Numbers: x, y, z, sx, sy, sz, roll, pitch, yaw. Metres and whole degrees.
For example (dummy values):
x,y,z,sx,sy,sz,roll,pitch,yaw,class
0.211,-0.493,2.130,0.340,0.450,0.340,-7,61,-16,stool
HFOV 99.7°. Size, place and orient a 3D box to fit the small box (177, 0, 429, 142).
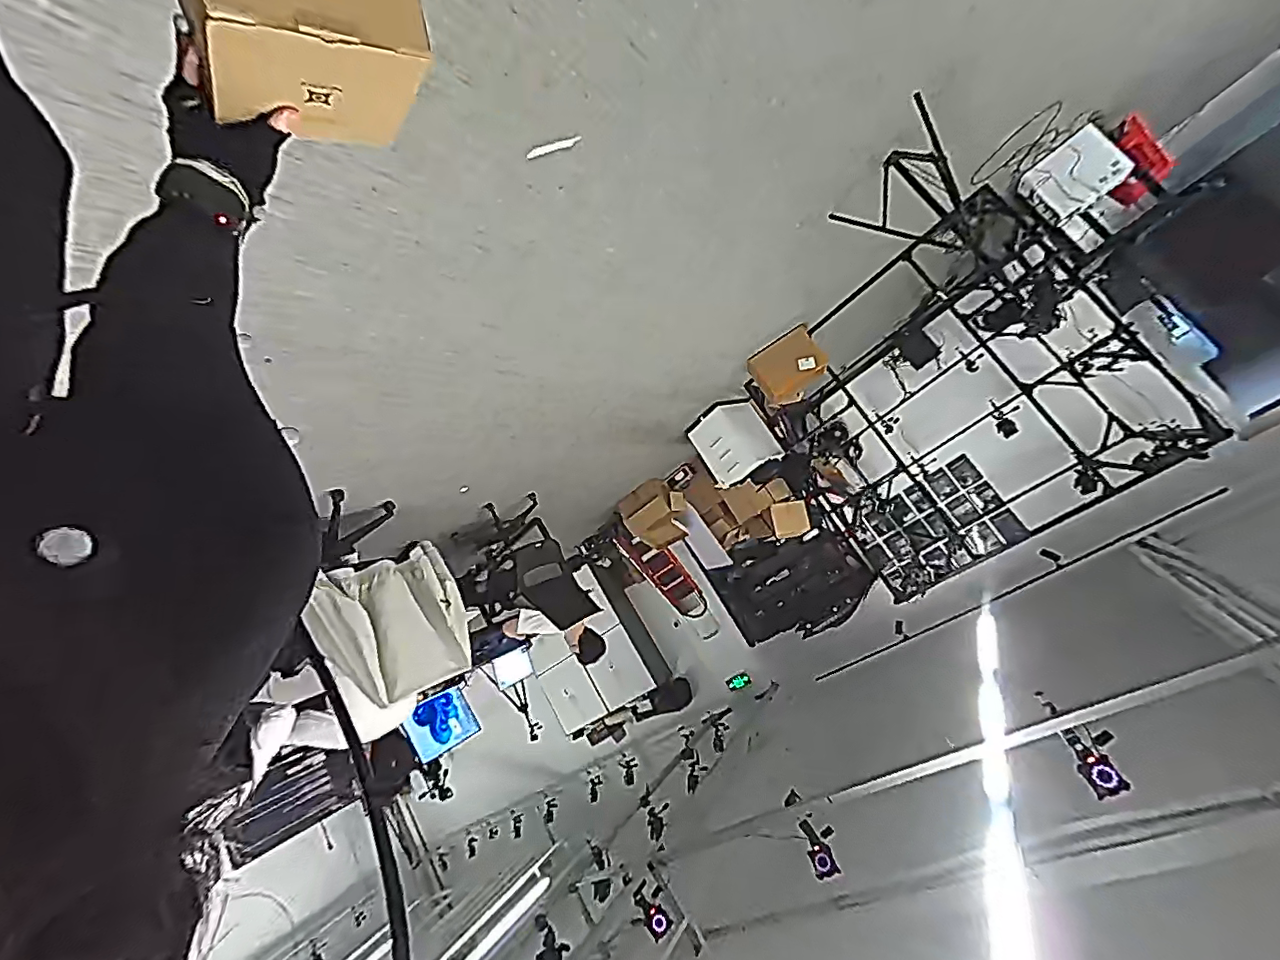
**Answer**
x,y,z,sx,sy,sz,roll,pitch,yaw,class
-0.314,-0.441,0.487,0.168,0.176,0.179,-17,-167,-35,small box
